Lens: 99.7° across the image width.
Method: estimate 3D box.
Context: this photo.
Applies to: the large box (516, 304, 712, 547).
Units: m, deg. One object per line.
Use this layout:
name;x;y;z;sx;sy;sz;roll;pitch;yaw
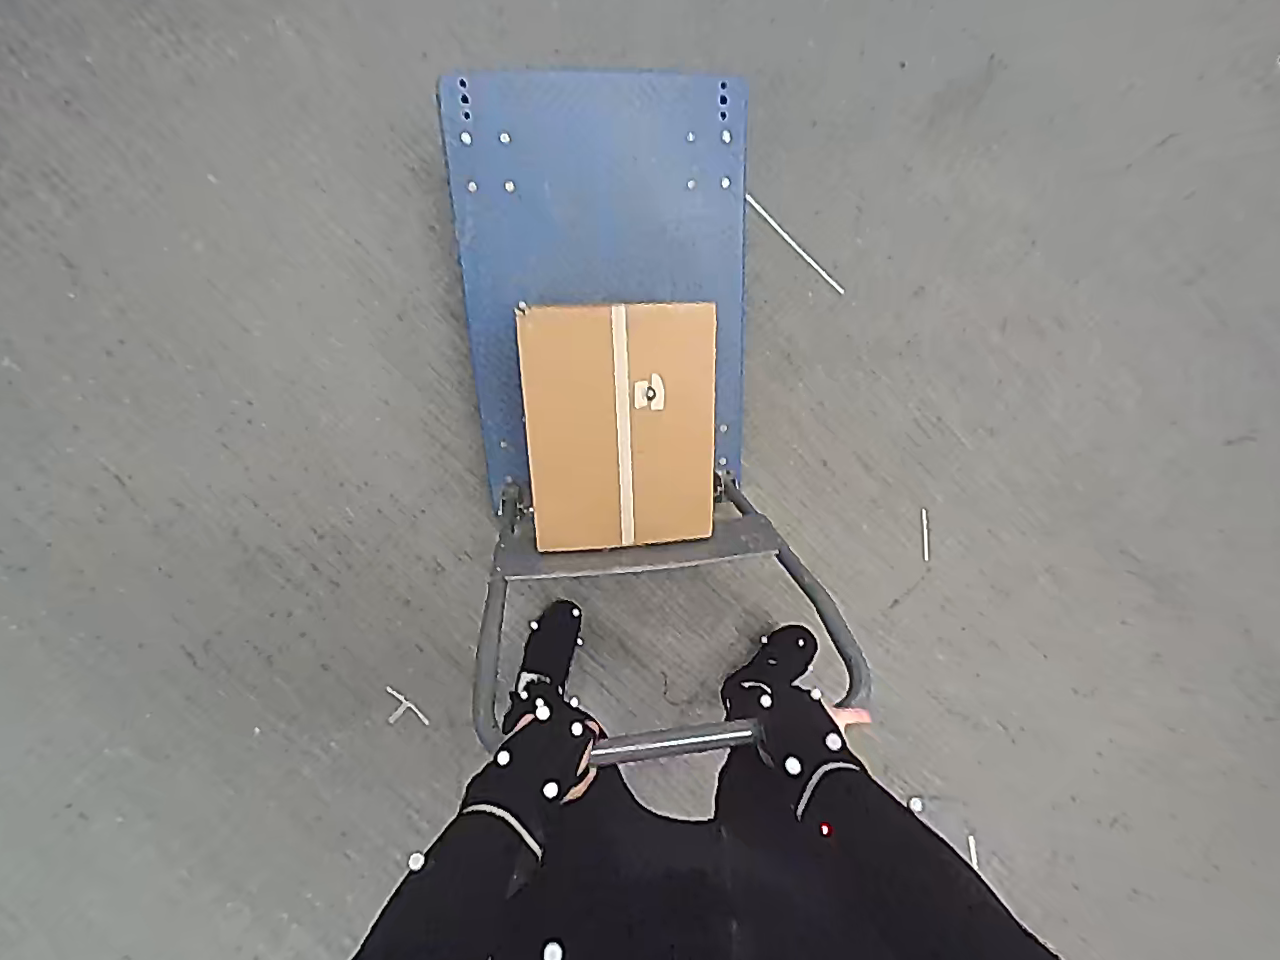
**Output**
large box;-0.050;-0.123;1.058;0.320;0.320;0.408;-5;107;-7
